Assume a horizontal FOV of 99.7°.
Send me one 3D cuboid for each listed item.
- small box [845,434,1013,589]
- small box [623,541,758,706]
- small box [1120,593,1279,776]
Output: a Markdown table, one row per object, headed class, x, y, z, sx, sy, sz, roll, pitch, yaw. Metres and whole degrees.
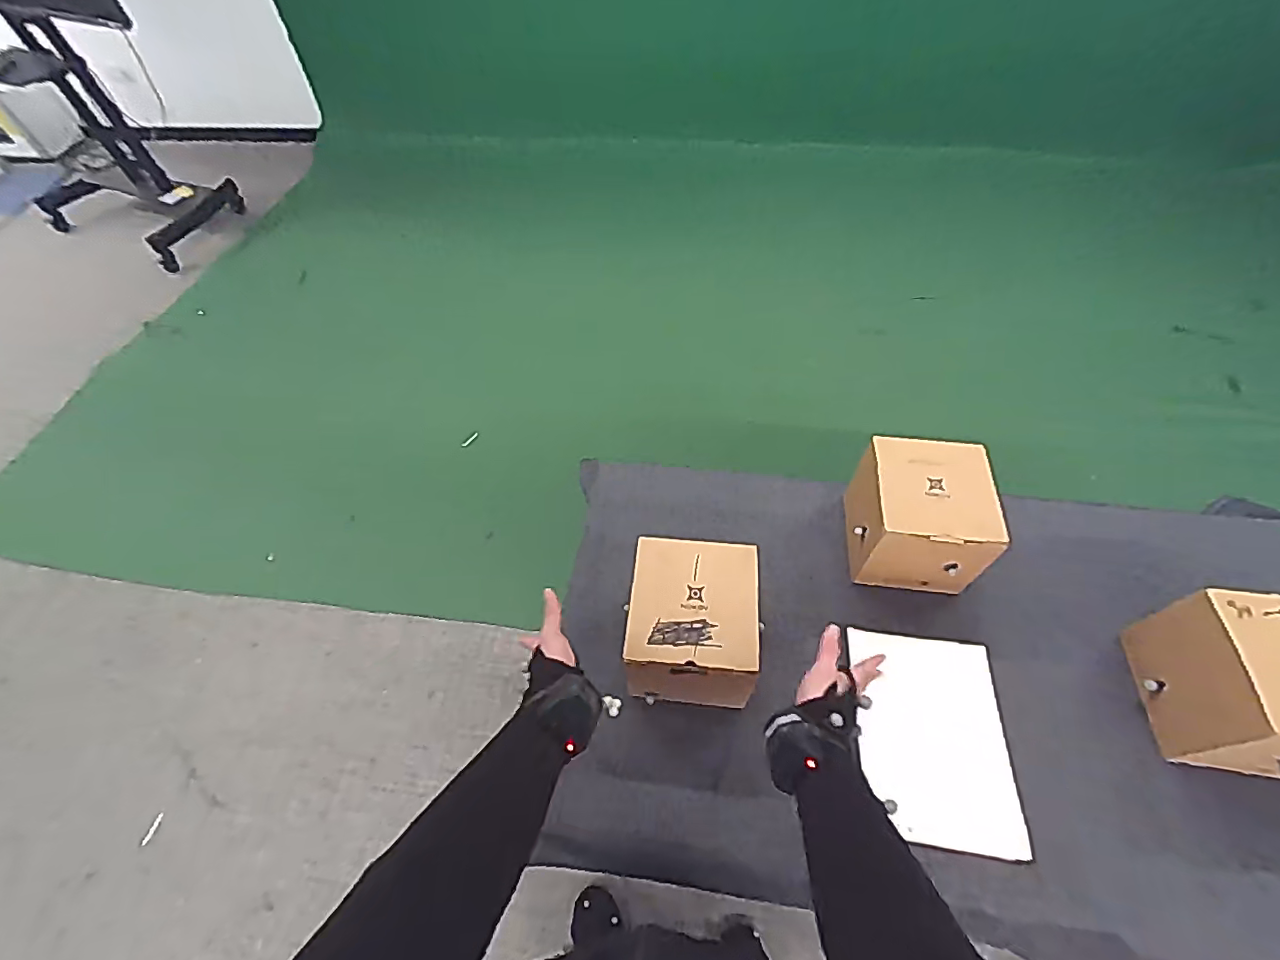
| class | x | y | z | sx | sy | sz | roll | pitch | yaw |
| --- | --- | --- | --- | --- | --- | --- | --- | --- | --- |
| small box | 0.428 | 0.053 | 0.836 | 0.168 | 0.176 | 0.179 | 5 | 55 | 5 |
| small box | 0.074 | 0.207 | 0.763 | 0.168 | 0.176 | 0.179 | 4 | 55 | 5 |
| small box | 0.775 | 0.264 | 0.686 | 0.168 | 0.176 | 0.179 | 6 | 56 | 7 |
